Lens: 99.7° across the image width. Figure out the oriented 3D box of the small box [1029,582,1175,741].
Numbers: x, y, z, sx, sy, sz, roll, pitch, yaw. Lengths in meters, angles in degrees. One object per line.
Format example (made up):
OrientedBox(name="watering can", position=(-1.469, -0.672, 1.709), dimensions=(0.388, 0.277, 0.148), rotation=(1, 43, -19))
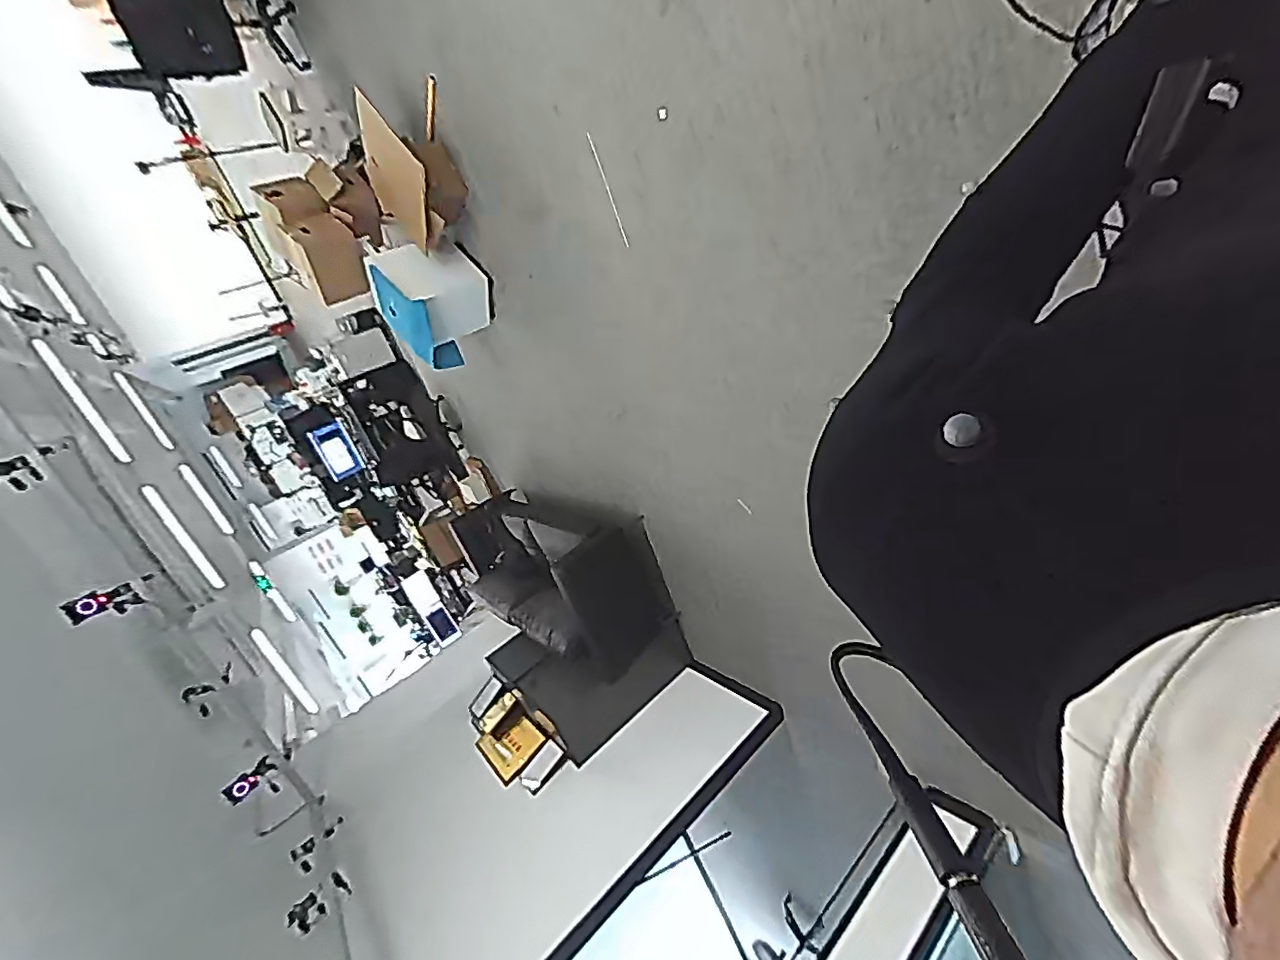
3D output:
OrientedBox(name="small box", position=(0.833, 0.318, 0.977), dimensions=(0.168, 0.176, 0.179), rotation=(11, 127, 51))
